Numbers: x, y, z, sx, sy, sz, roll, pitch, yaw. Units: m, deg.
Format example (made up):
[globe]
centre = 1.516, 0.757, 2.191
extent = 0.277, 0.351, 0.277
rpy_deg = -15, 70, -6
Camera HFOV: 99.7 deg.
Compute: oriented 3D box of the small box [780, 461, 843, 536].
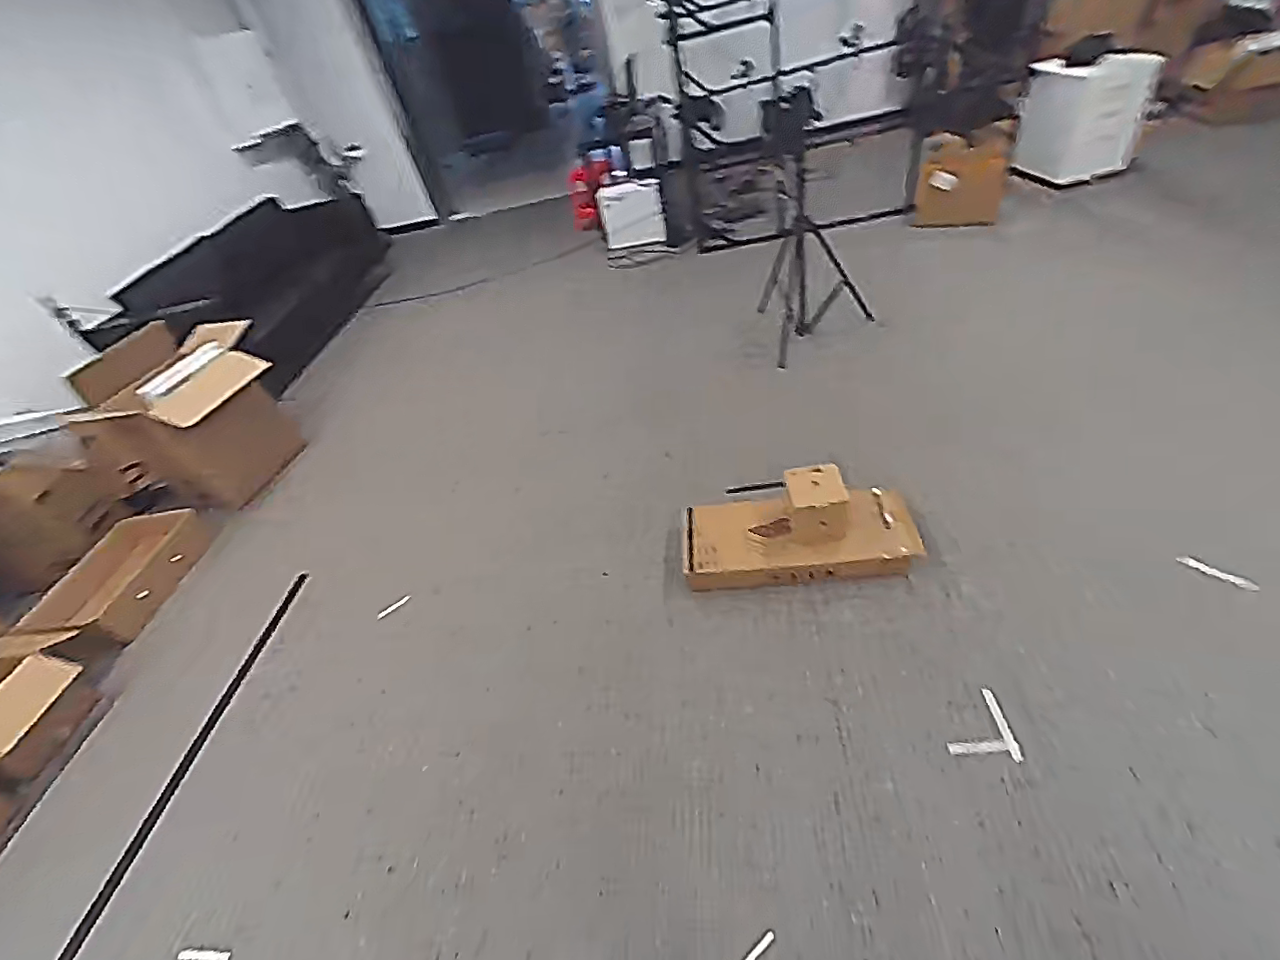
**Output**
[small box]
centre = 0.553, 0.068, 1.748
extent = 0.168, 0.176, 0.179
rpy_deg = -9, 43, 9
